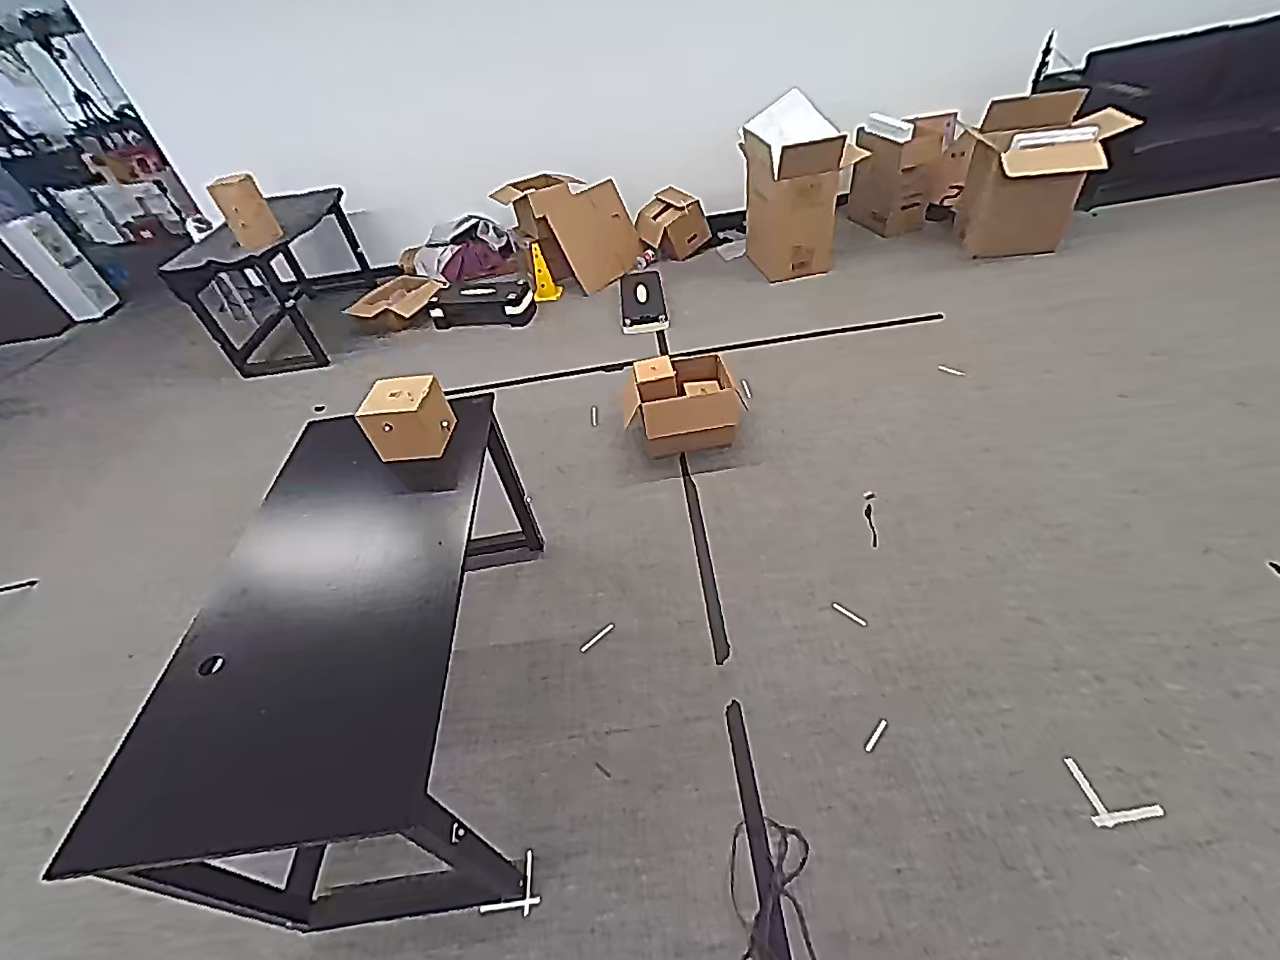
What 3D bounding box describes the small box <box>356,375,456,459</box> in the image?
[{"bbox_3d":[-0.647,-0.172,1.517,0.179,0.176,0.168,-4,45,7],"label":"small box"}]
